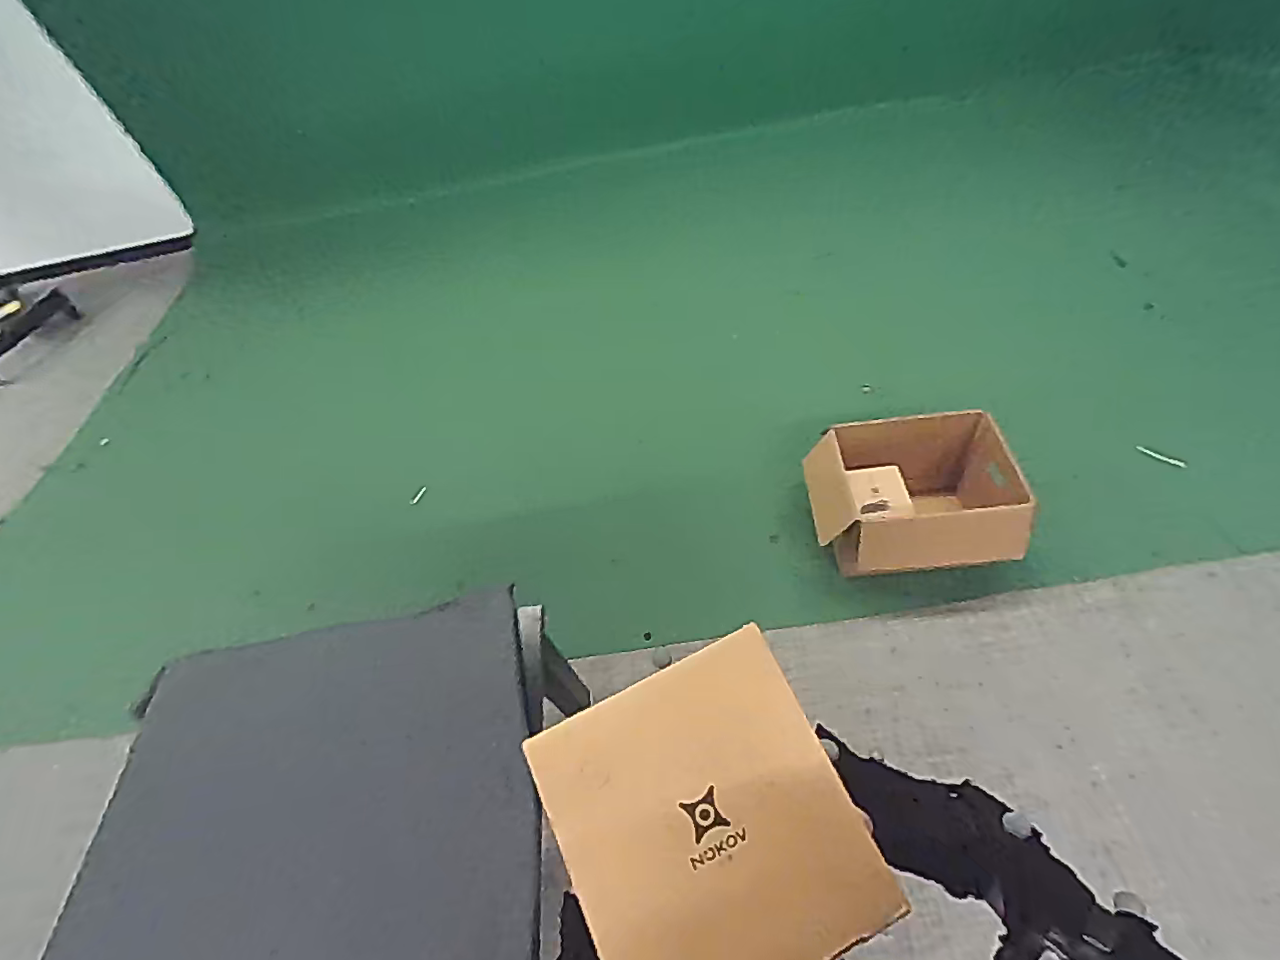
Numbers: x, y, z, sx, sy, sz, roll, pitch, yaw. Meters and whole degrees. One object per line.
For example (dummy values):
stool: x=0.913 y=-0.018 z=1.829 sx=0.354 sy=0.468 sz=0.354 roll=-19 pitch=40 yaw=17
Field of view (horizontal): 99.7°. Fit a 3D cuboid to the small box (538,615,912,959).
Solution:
small box: x=0.042 y=0.220 z=0.389 sx=0.168 sy=0.176 sz=0.179 roll=-24 pitch=73 yaw=-10
